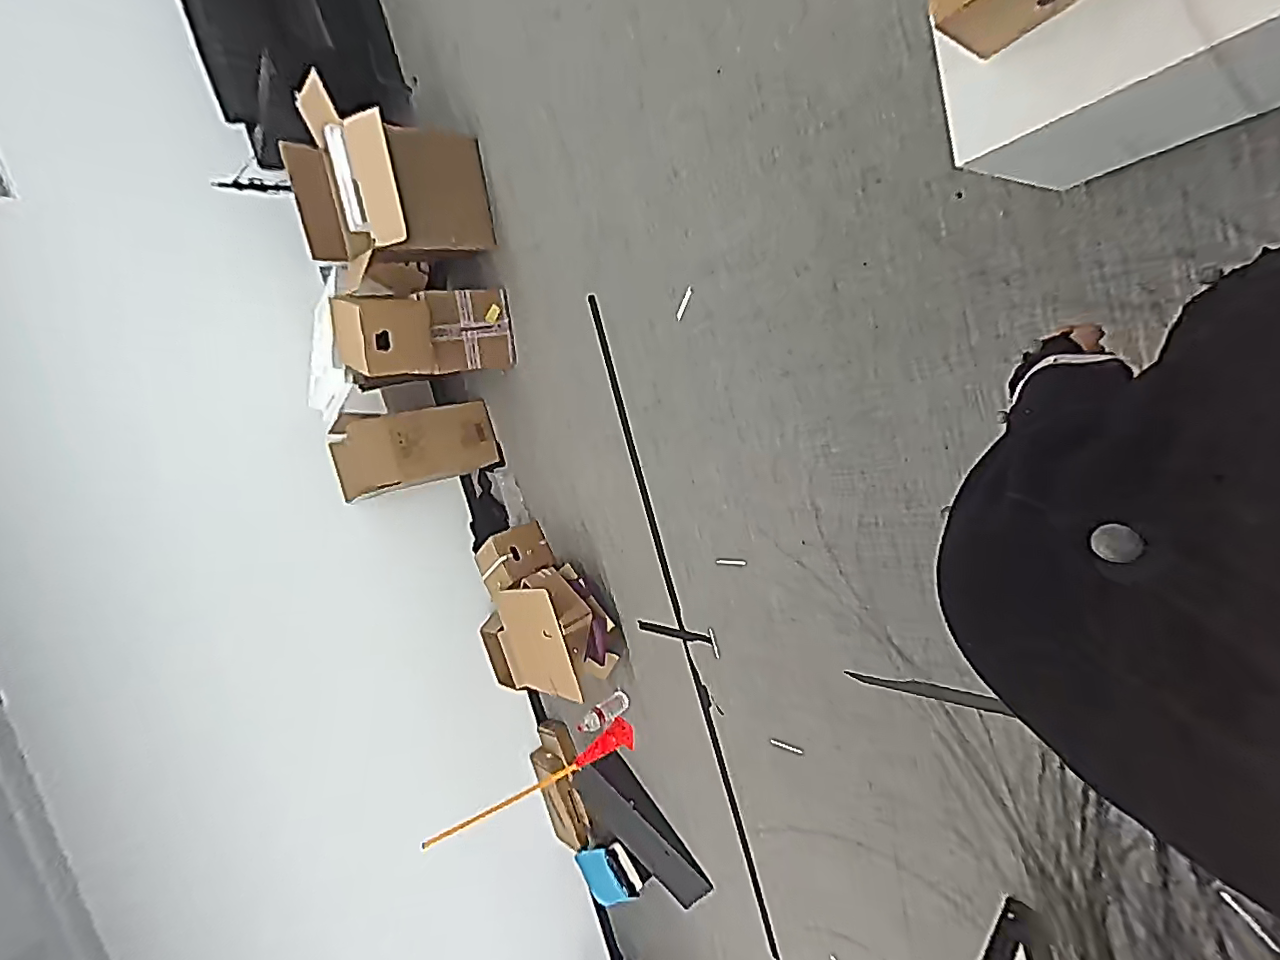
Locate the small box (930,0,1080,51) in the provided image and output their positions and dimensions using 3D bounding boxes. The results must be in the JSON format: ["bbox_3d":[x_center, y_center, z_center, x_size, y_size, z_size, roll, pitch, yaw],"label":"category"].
[{"bbox_3d":[0.417,-0.617,0.582,0.168,0.176,0.179,-9,99,52],"label":"small box"}]
